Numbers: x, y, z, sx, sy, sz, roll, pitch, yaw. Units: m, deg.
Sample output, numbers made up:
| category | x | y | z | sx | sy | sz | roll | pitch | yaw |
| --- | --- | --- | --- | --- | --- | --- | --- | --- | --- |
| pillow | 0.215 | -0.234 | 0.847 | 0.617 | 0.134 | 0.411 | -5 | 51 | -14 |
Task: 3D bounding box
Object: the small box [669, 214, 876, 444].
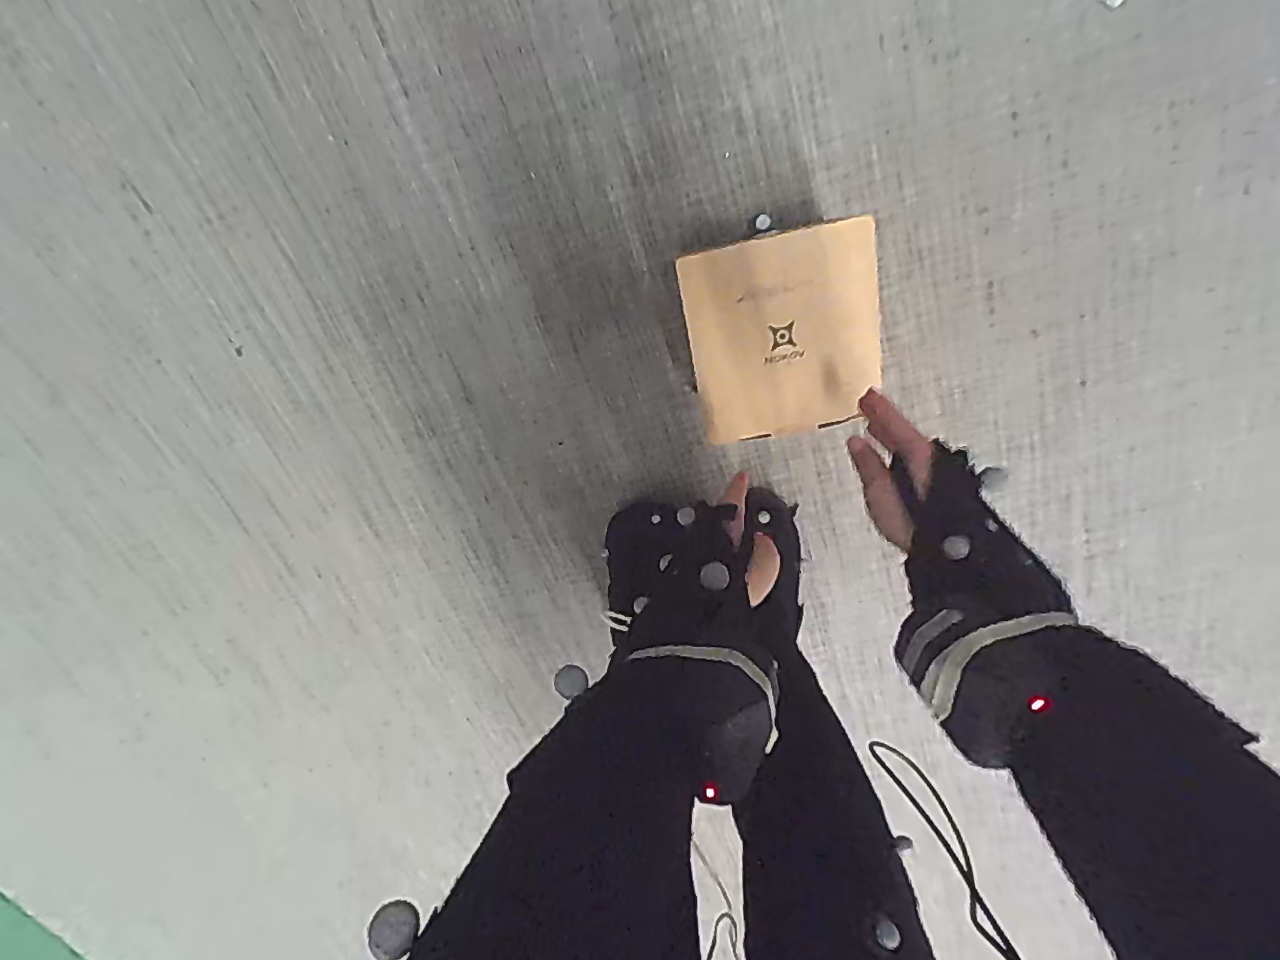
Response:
| category | x | y | z | sx | sy | sz | roll | pitch | yaw |
| --- | --- | --- | --- | --- | --- | --- | --- | --- | --- |
| small box | 0.127 | -0.157 | 0.550 | 0.168 | 0.176 | 0.179 | -11 | 112 | 8 |
